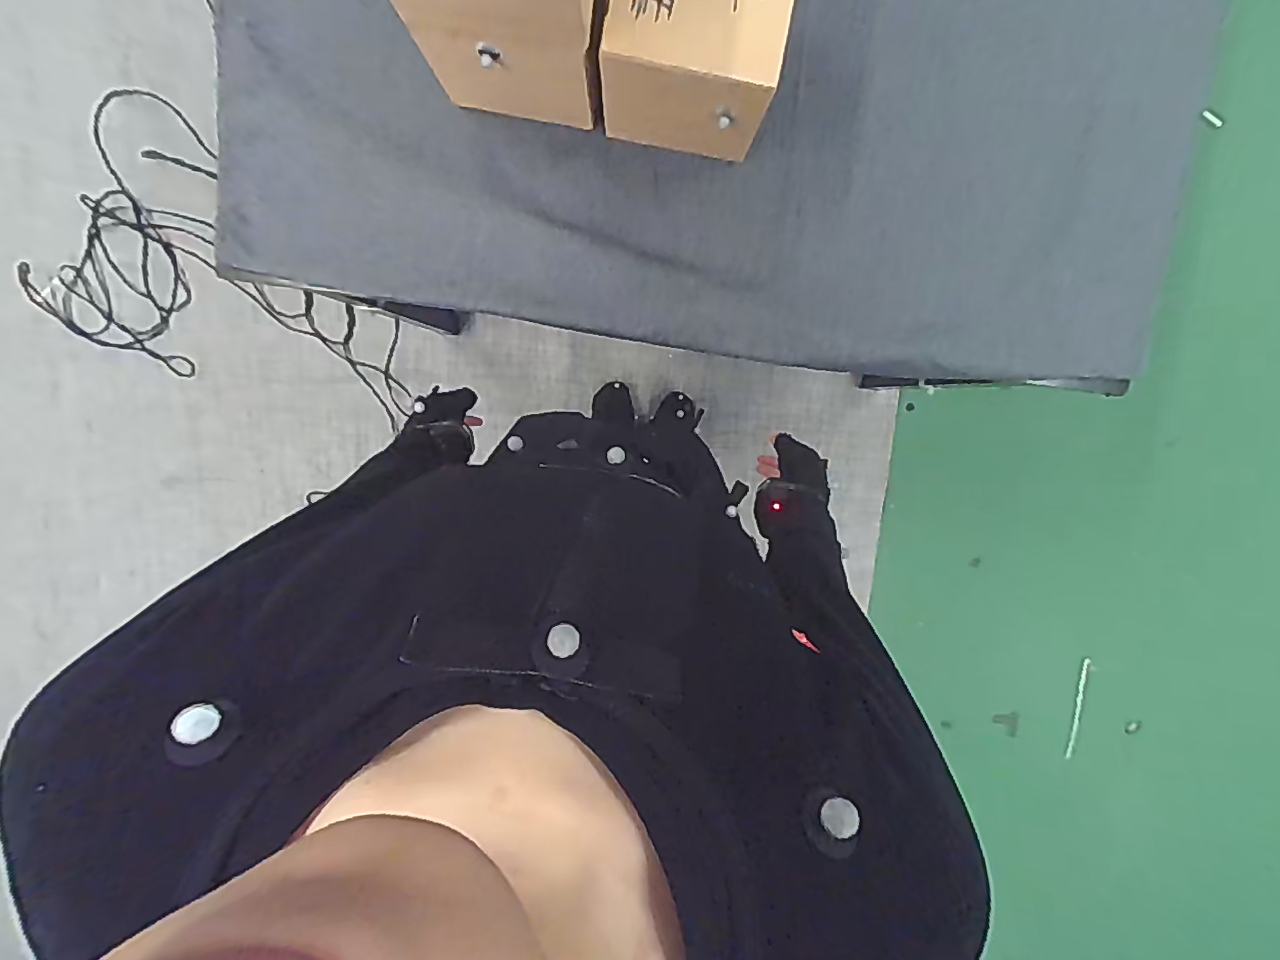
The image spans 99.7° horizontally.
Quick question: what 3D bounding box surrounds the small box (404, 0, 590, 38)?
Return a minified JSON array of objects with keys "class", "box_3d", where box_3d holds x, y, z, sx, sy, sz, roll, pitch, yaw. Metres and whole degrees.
[{"class":"small box","box_3d":[-0.119,-0.490,0.417,0.179,0.176,0.168,7,98,-3]}]
